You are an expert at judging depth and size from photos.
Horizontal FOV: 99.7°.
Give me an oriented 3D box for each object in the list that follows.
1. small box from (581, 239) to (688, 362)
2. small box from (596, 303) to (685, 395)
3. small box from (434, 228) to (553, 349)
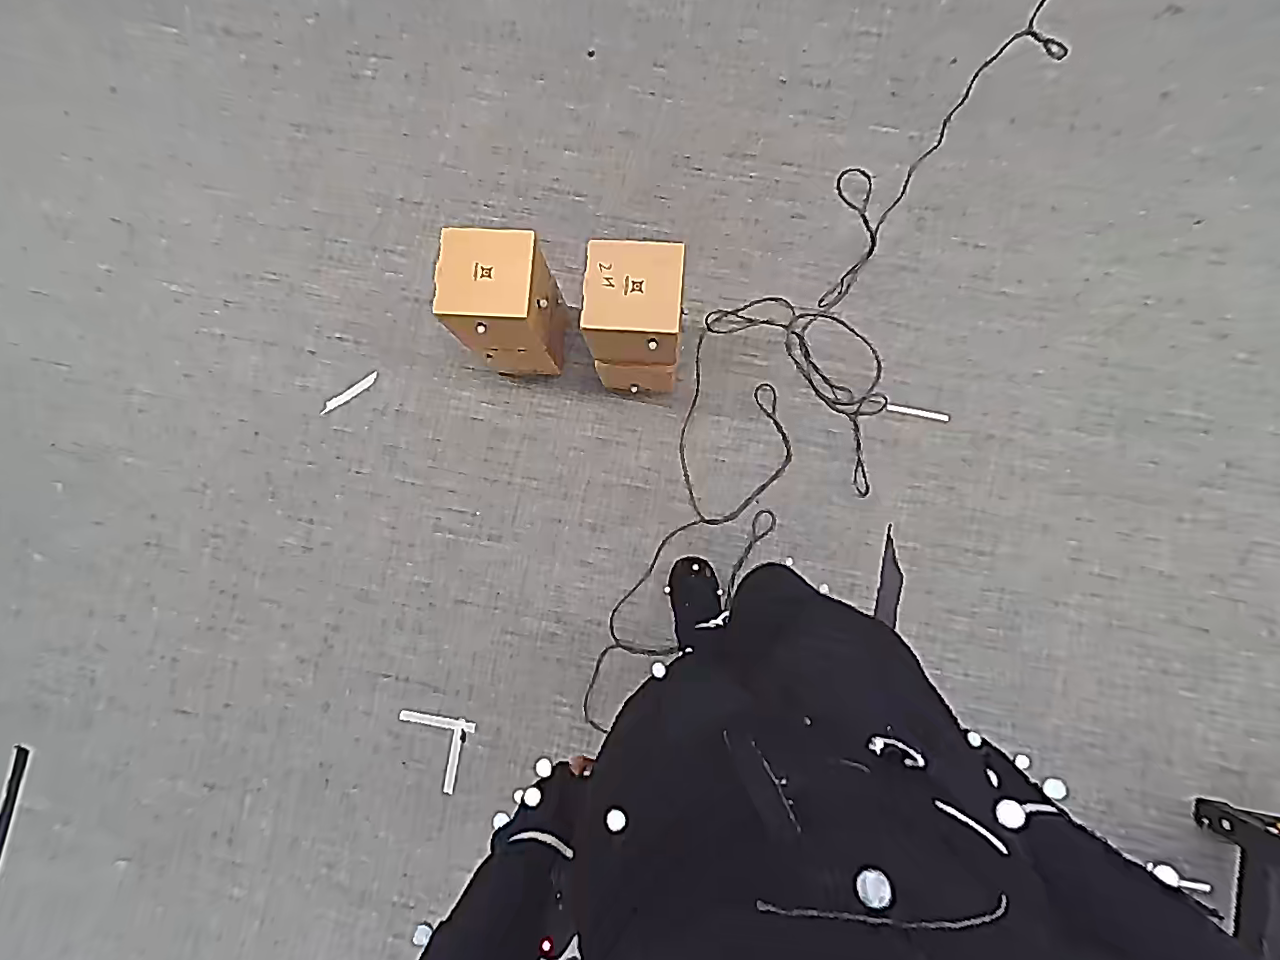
[{"bbox_3d":[-0.005,-0.328,1.018,0.179,0.176,0.168,5,83,4],"label":"small box"},{"bbox_3d":[0.005,-0.300,1.180,0.168,0.176,0.179,7,85,5],"label":"small box"},{"bbox_3d":[-0.271,-0.359,1.040,0.179,0.176,0.168,3,84,4],"label":"small box"}]
